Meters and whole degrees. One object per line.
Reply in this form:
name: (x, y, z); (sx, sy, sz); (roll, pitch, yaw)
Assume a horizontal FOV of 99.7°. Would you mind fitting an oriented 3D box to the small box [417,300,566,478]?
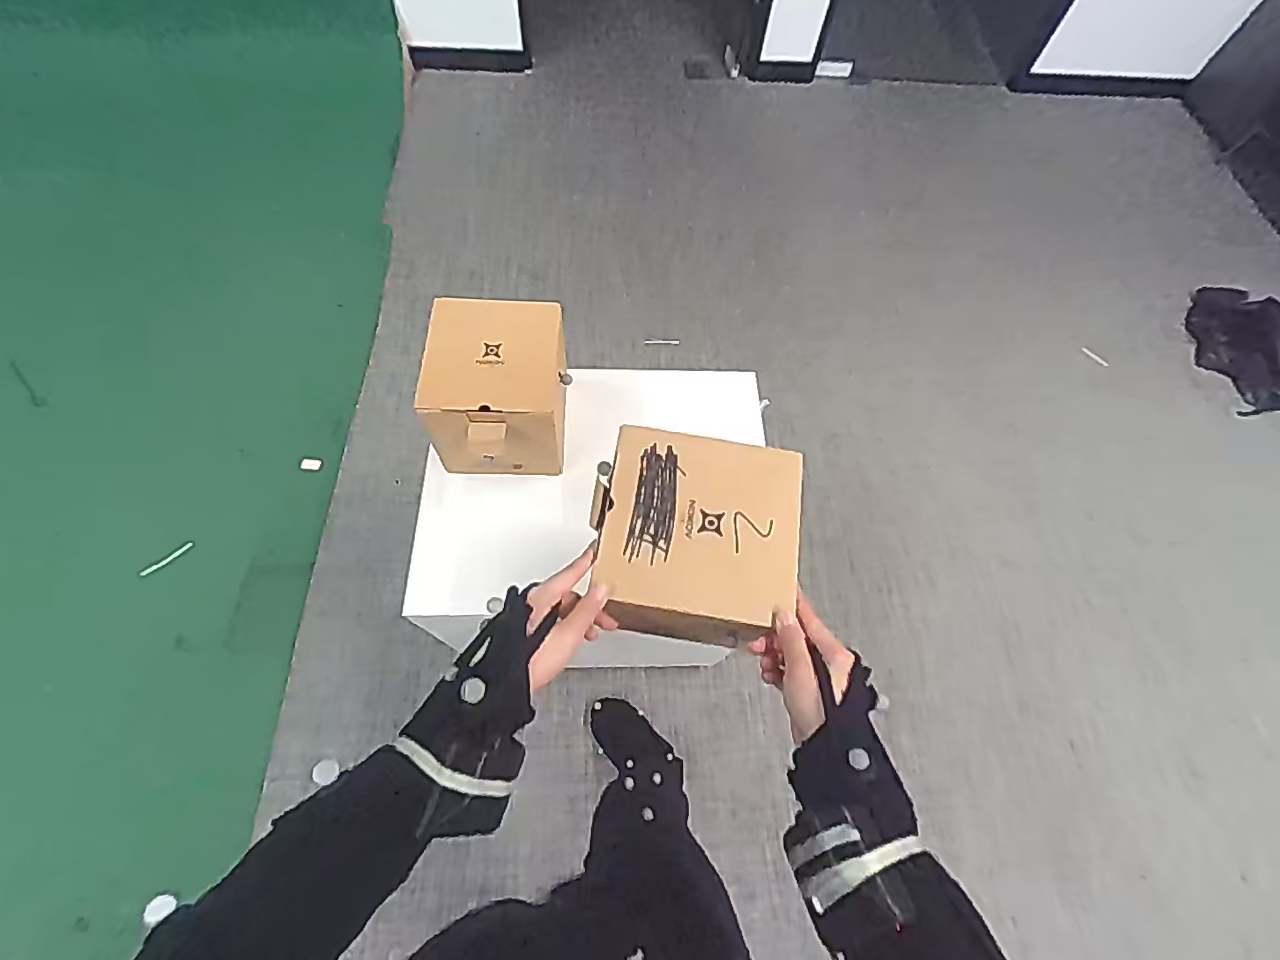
small box: (-0.190, -0.119, 0.746); (0.168, 0.176, 0.179); (1, 65, -5)
